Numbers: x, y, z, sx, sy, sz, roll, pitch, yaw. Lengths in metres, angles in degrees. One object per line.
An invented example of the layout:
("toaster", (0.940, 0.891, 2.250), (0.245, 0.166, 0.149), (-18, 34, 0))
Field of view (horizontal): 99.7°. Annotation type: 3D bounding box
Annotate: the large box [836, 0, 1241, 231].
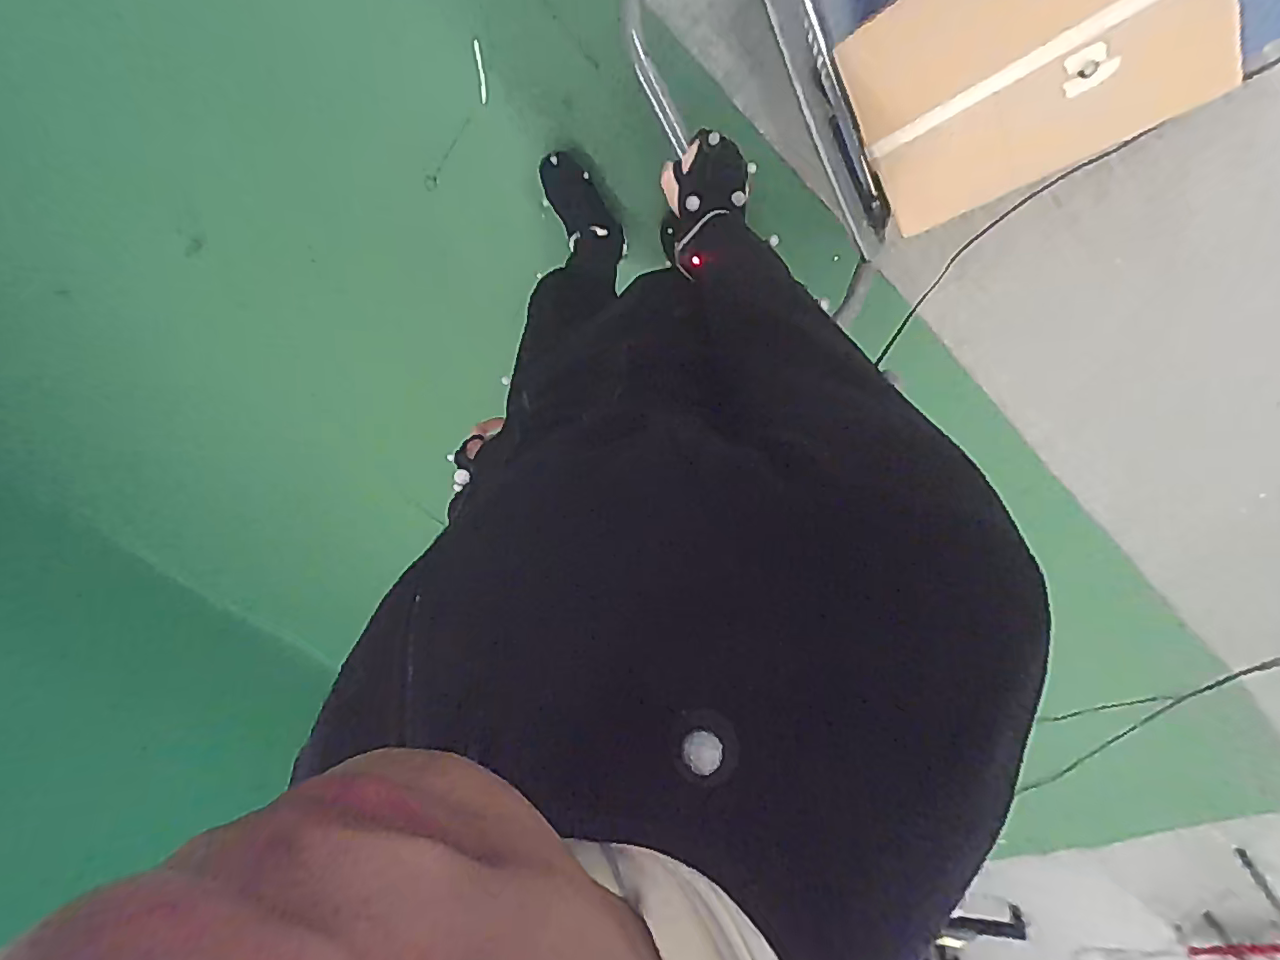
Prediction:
("large box", (0.568, -0.667, 0.831), (0.408, 0.320, 0.320), (-15, 123, 37))
